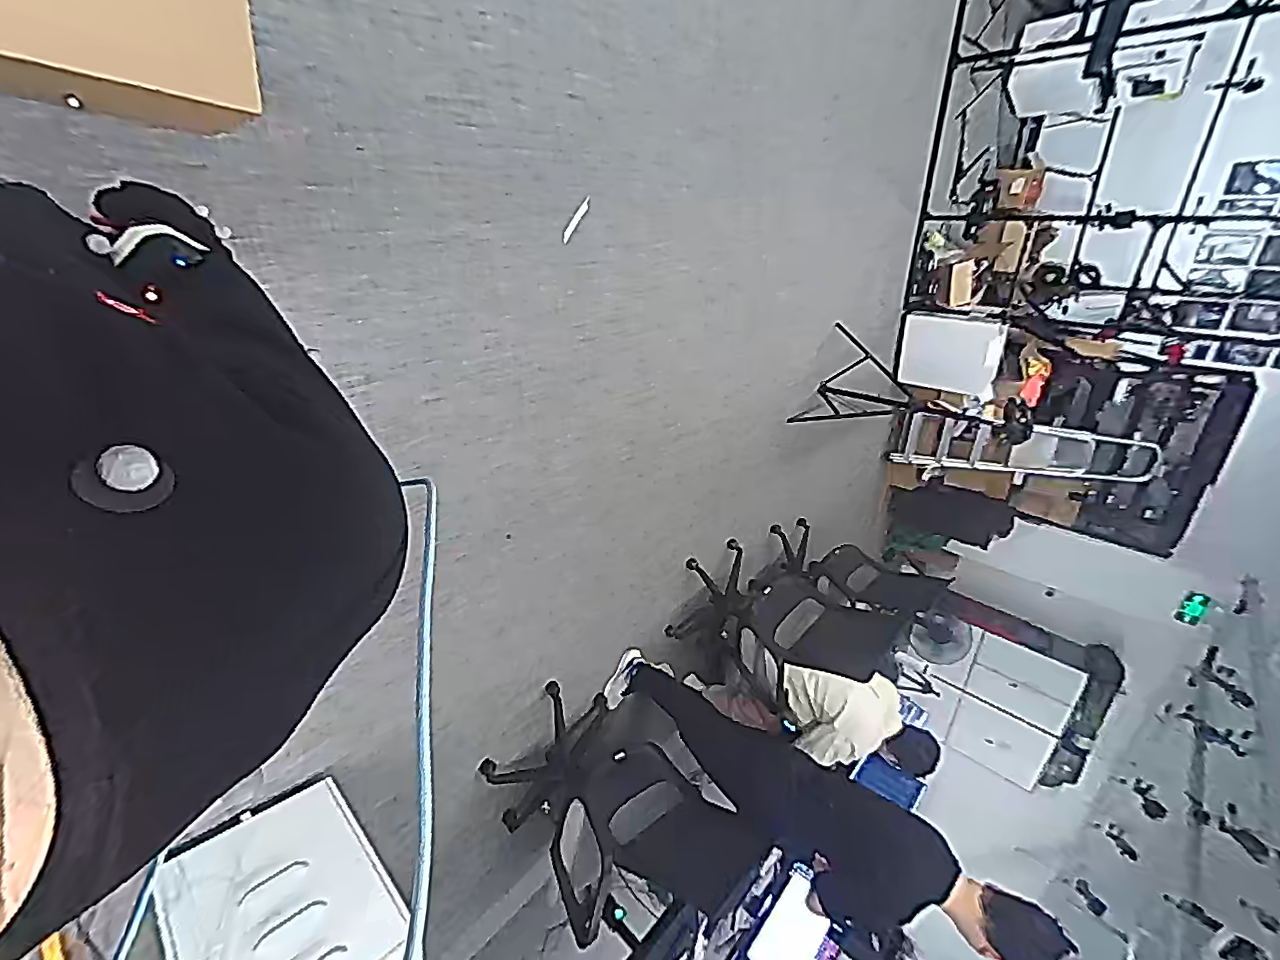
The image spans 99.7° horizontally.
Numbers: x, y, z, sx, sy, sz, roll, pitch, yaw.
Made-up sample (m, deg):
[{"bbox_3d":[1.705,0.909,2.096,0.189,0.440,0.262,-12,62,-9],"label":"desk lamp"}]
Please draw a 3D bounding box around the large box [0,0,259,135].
[{"bbox_3d":[-0.823,-0.703,0.734,0.408,0.320,0.320,-18,120,-45],"label":"large box"}]
